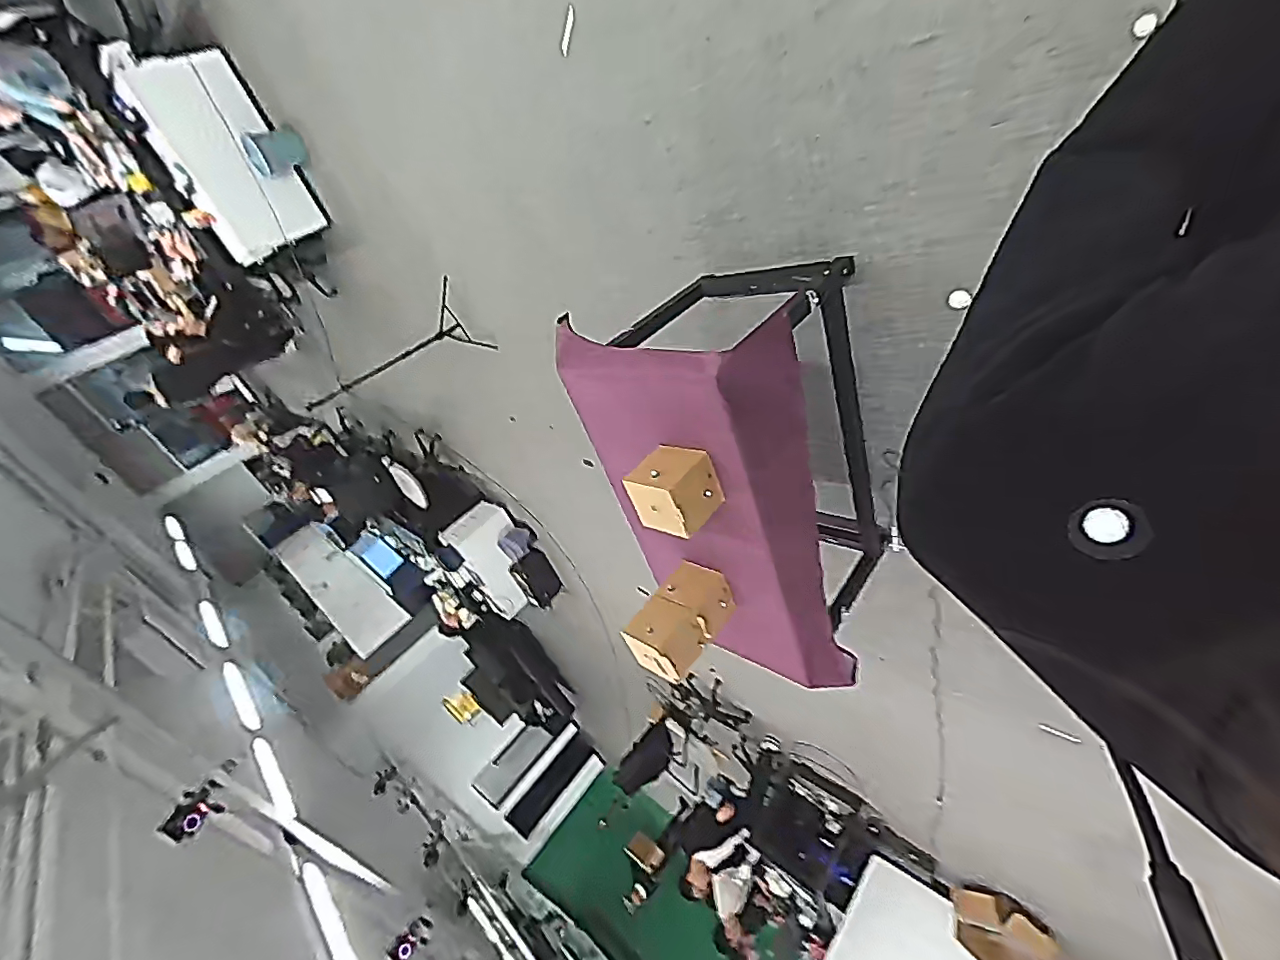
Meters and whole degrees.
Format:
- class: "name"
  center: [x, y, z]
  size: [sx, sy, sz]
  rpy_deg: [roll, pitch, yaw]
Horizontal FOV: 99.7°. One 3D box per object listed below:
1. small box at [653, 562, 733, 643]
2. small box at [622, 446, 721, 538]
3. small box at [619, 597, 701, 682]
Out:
- class: "small box"
  center: [0.178, 0.397, 1.789]
  size: [0.179, 0.176, 0.168]
  rpy_deg: [13, 137, 44]
- class: "small box"
  center: [0.088, 0.024, 1.453]
  size: [0.179, 0.176, 0.168]
  rpy_deg: [12, 136, 46]
- class: "small box"
  center: [0.073, 0.496, 1.710]
  size: [0.179, 0.176, 0.168]
  rpy_deg: [10, 134, 48]
